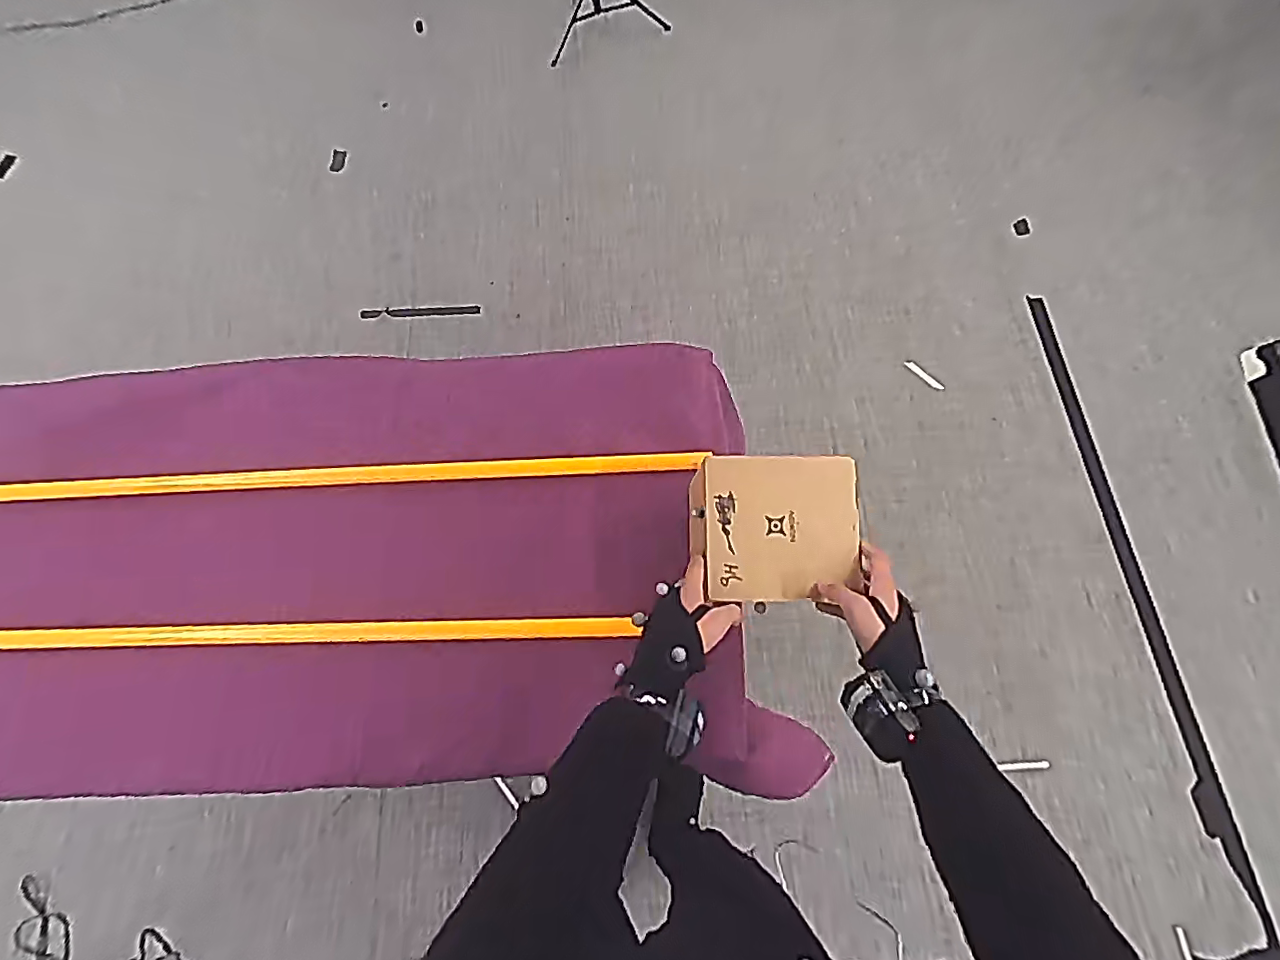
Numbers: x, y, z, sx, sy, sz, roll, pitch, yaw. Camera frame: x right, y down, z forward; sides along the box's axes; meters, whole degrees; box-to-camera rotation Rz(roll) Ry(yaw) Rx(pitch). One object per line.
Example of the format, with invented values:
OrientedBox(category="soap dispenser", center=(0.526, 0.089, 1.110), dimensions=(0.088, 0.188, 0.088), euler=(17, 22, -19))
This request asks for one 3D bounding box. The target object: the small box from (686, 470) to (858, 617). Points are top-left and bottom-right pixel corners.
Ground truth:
OrientedBox(category="small box", center=(0.156, 0.085, 0.694), dimensions=(0.179, 0.176, 0.168), euler=(1, 79, -1))
